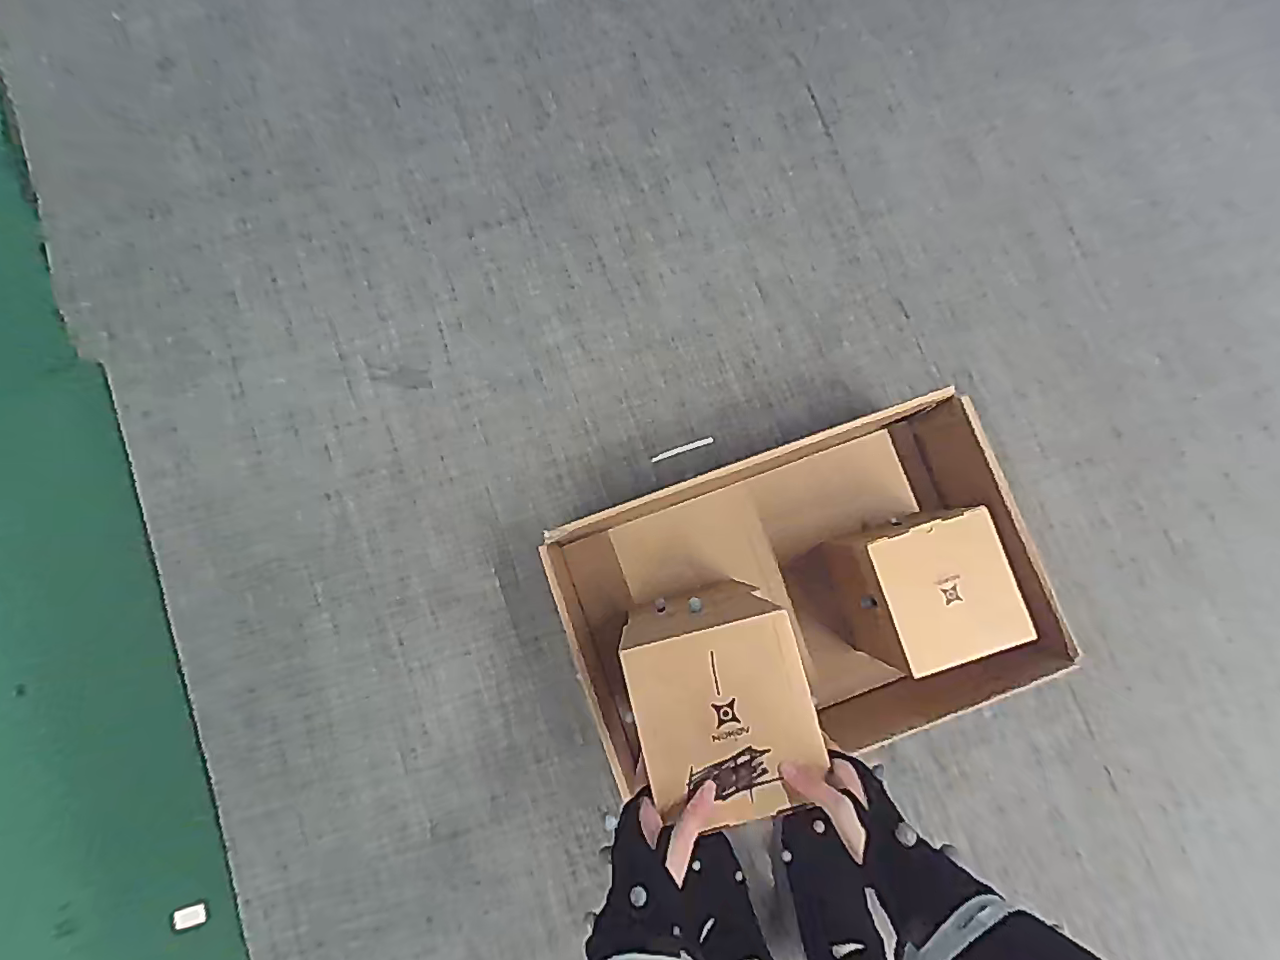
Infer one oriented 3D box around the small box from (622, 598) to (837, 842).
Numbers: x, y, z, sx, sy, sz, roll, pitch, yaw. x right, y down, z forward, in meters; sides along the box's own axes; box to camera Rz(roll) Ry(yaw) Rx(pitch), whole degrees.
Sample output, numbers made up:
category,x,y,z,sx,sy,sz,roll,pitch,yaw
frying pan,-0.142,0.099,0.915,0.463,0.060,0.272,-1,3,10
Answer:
category,x,y,z,sx,sy,sz,roll,pitch,yaw
small box,0.083,0.236,0.577,0.168,0.176,0.179,-14,82,-2
